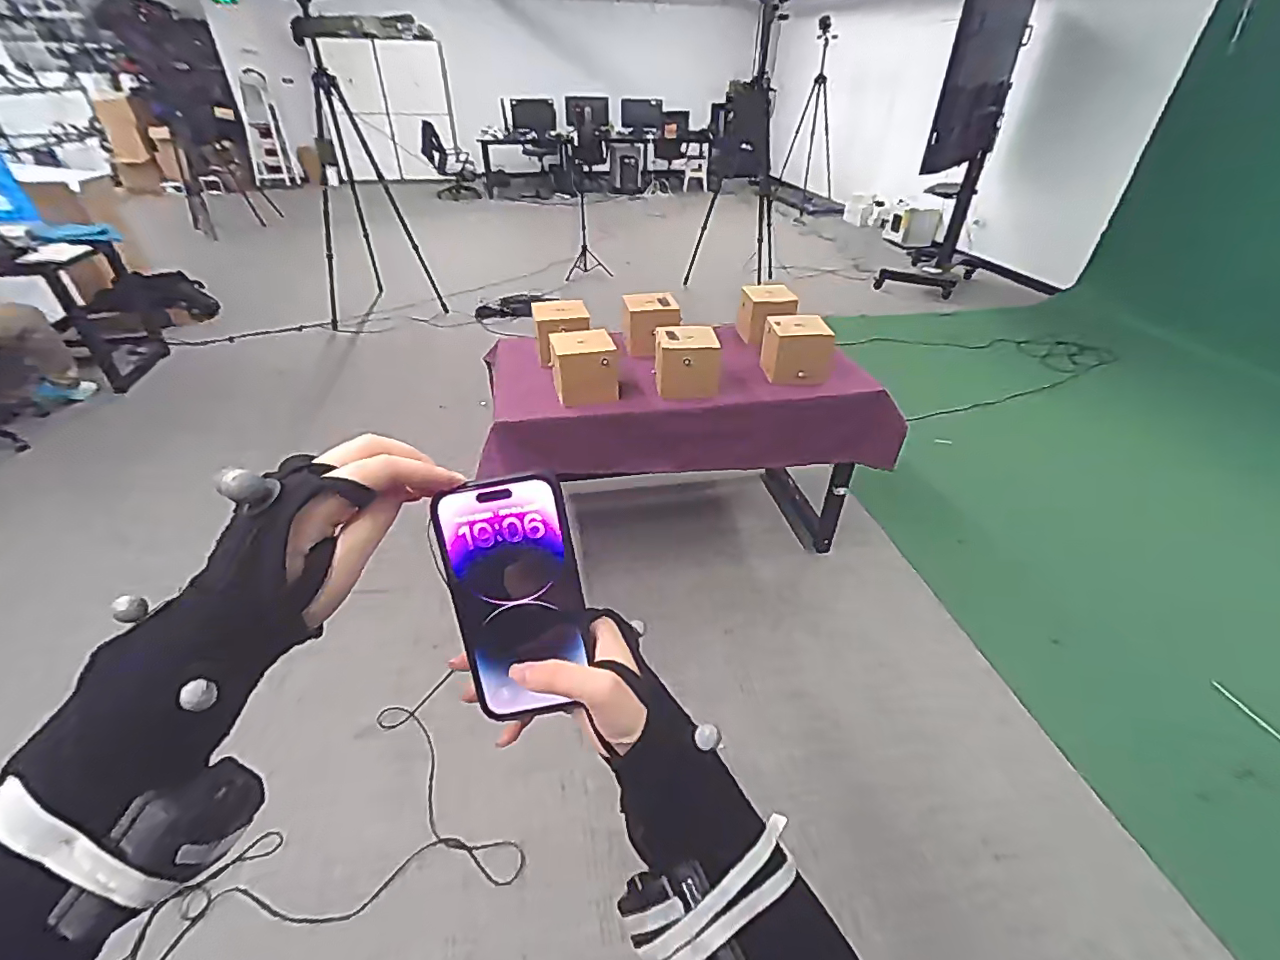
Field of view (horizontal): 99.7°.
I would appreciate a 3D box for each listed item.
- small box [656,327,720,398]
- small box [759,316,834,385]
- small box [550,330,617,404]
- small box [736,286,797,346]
[{"bbox_3d":[0.141,-0.361,1.666,0.179,0.176,0.168,-1,37,-4],"label":"small box"},{"bbox_3d":[0.499,-0.417,1.748,0.179,0.176,0.168,-1,37,-3],"label":"small box"},{"bbox_3d":[-0.169,-0.339,1.631,0.179,0.176,0.168,-8,38,-14],"label":"small box"},{"bbox_3d":[0.460,-0.605,1.995,0.168,0.176,0.179,-4,38,-5],"label":"small box"}]
